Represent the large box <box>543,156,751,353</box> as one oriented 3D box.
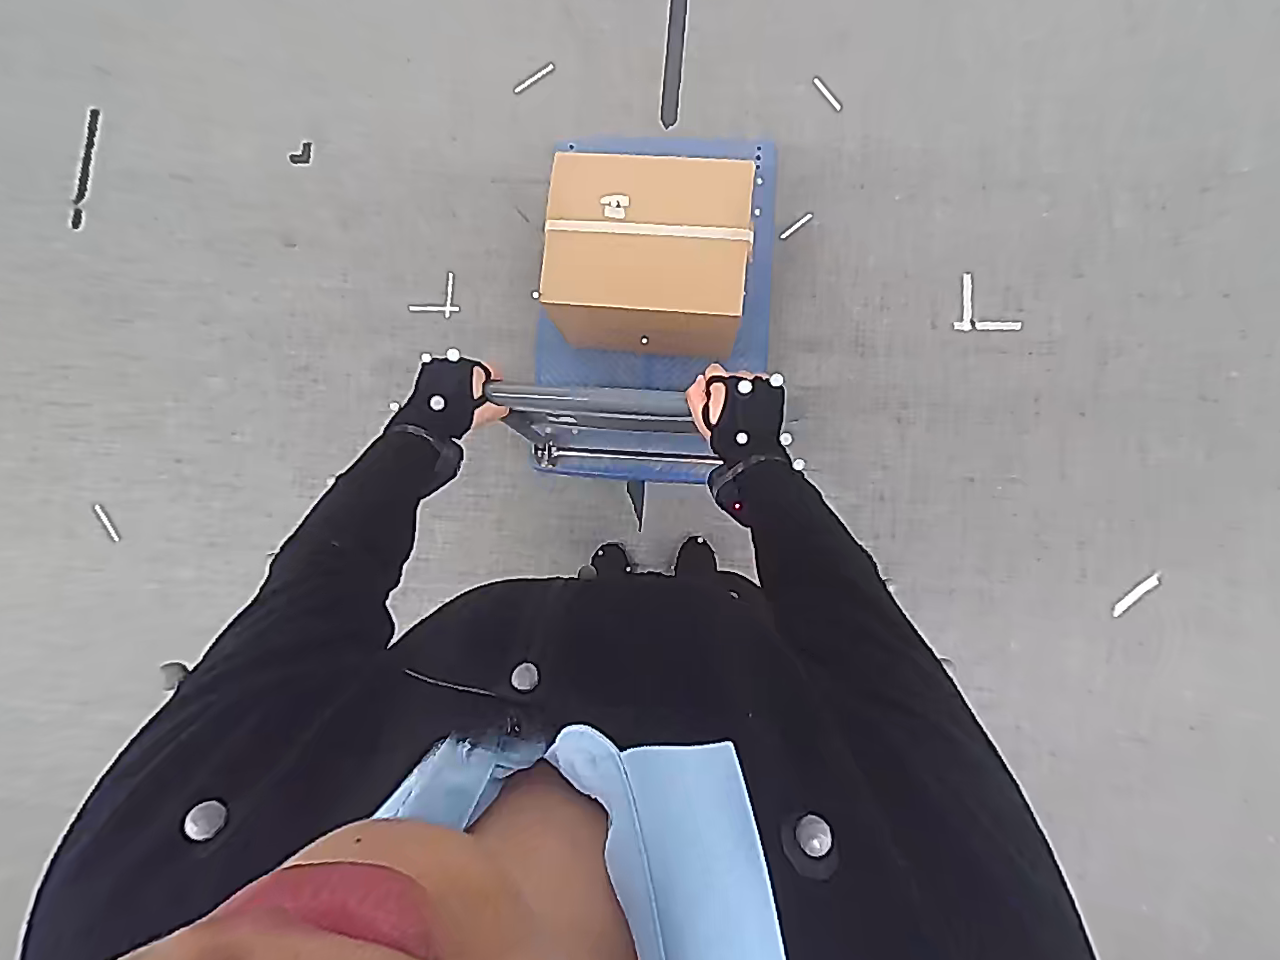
[{"bbox_3d":[0.028,-0.487,1.226,0.408,0.320,0.320,5,86,6],"label":"large box"}]
